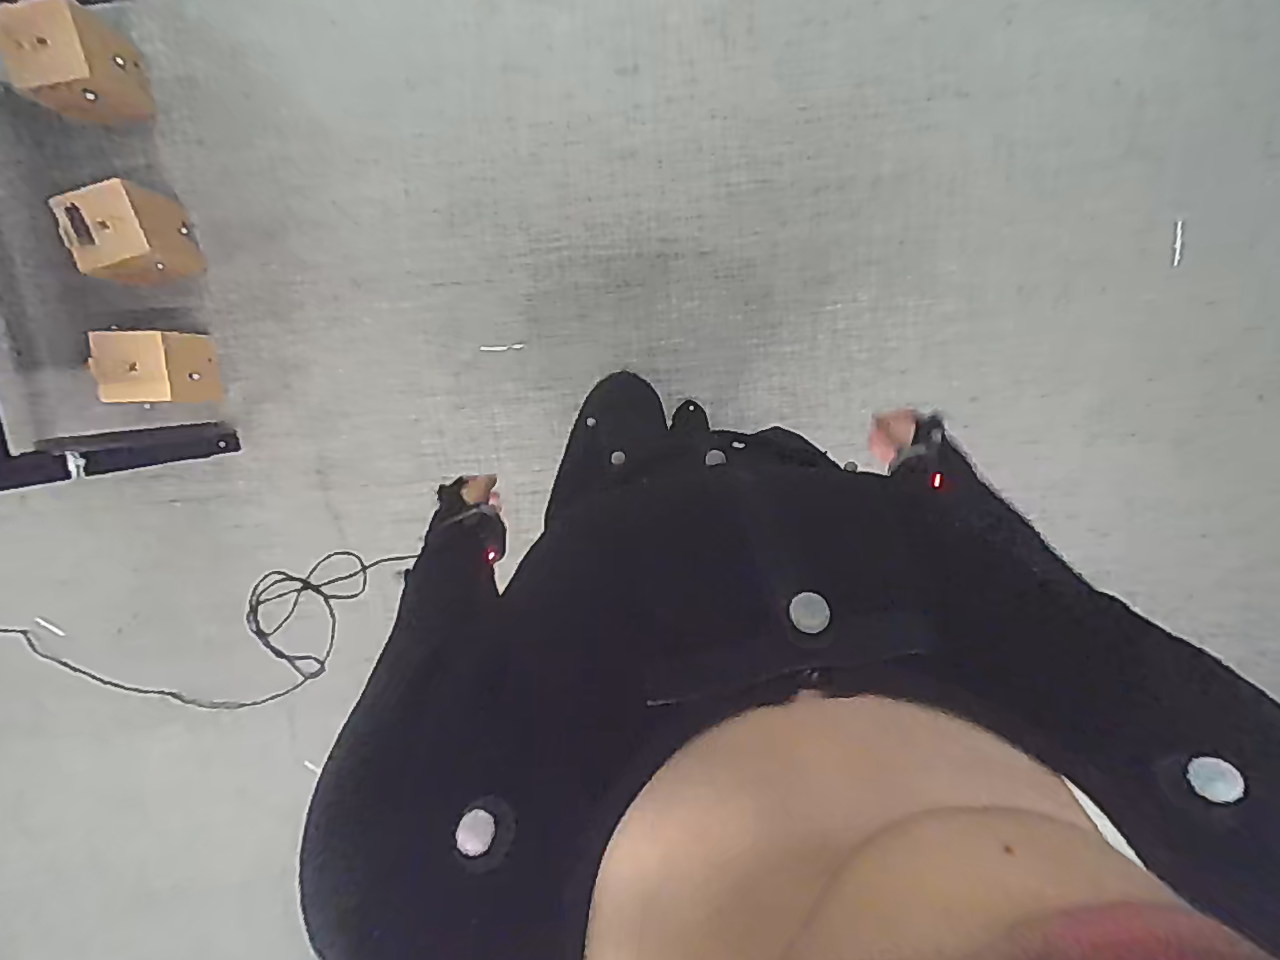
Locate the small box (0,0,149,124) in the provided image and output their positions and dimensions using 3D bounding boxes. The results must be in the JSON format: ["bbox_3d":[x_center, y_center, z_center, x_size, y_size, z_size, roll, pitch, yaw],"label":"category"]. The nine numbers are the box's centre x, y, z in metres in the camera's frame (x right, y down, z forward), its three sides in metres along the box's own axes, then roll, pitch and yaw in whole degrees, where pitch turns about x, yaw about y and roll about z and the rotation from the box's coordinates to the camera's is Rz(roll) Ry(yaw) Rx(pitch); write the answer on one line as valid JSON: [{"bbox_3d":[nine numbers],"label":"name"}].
[{"bbox_3d":[-1.276,-0.946,1.228,0.179,0.176,0.168,-10,100,2],"label":"small box"}]

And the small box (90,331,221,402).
[{"bbox_3d":[-1.194,-0.283,1.352,0.179,0.176,0.168,-1,101,1],"label":"small box"}]
